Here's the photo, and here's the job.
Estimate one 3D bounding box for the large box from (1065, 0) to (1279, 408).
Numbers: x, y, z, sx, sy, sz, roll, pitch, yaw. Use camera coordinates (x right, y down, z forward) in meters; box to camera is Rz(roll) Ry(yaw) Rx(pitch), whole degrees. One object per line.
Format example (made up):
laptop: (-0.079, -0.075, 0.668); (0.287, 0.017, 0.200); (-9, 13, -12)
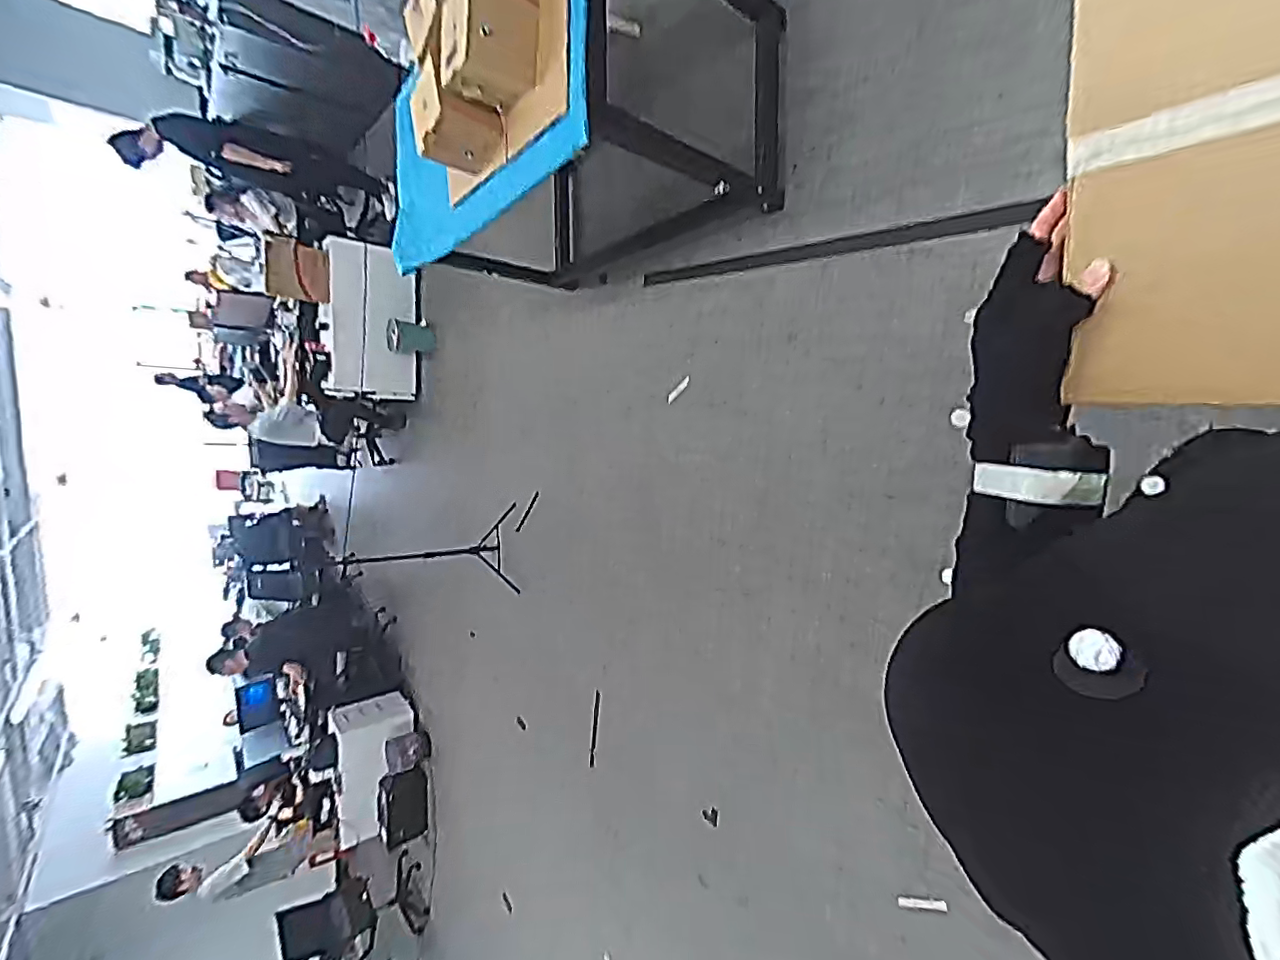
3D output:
large box: (0.517, -0.219, 0.282); (0.408, 0.320, 0.320); (11, 114, 52)
